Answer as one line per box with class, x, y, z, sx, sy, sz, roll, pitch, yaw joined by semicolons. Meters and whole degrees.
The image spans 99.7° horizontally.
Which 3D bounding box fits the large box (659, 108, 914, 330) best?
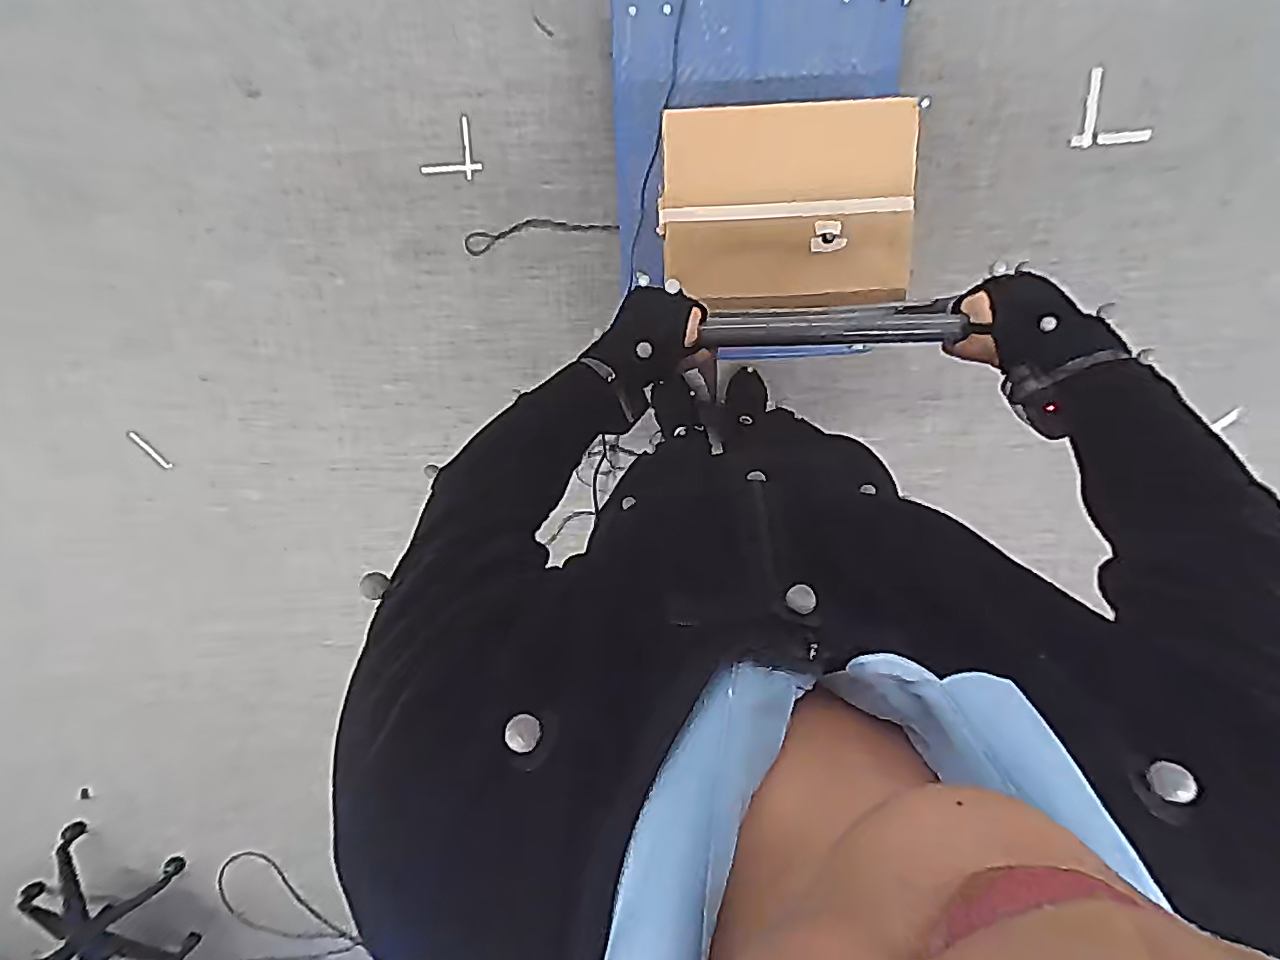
large box;0.242;-0.463;1.035;0.408;0.320;0.320;-1;104;2
